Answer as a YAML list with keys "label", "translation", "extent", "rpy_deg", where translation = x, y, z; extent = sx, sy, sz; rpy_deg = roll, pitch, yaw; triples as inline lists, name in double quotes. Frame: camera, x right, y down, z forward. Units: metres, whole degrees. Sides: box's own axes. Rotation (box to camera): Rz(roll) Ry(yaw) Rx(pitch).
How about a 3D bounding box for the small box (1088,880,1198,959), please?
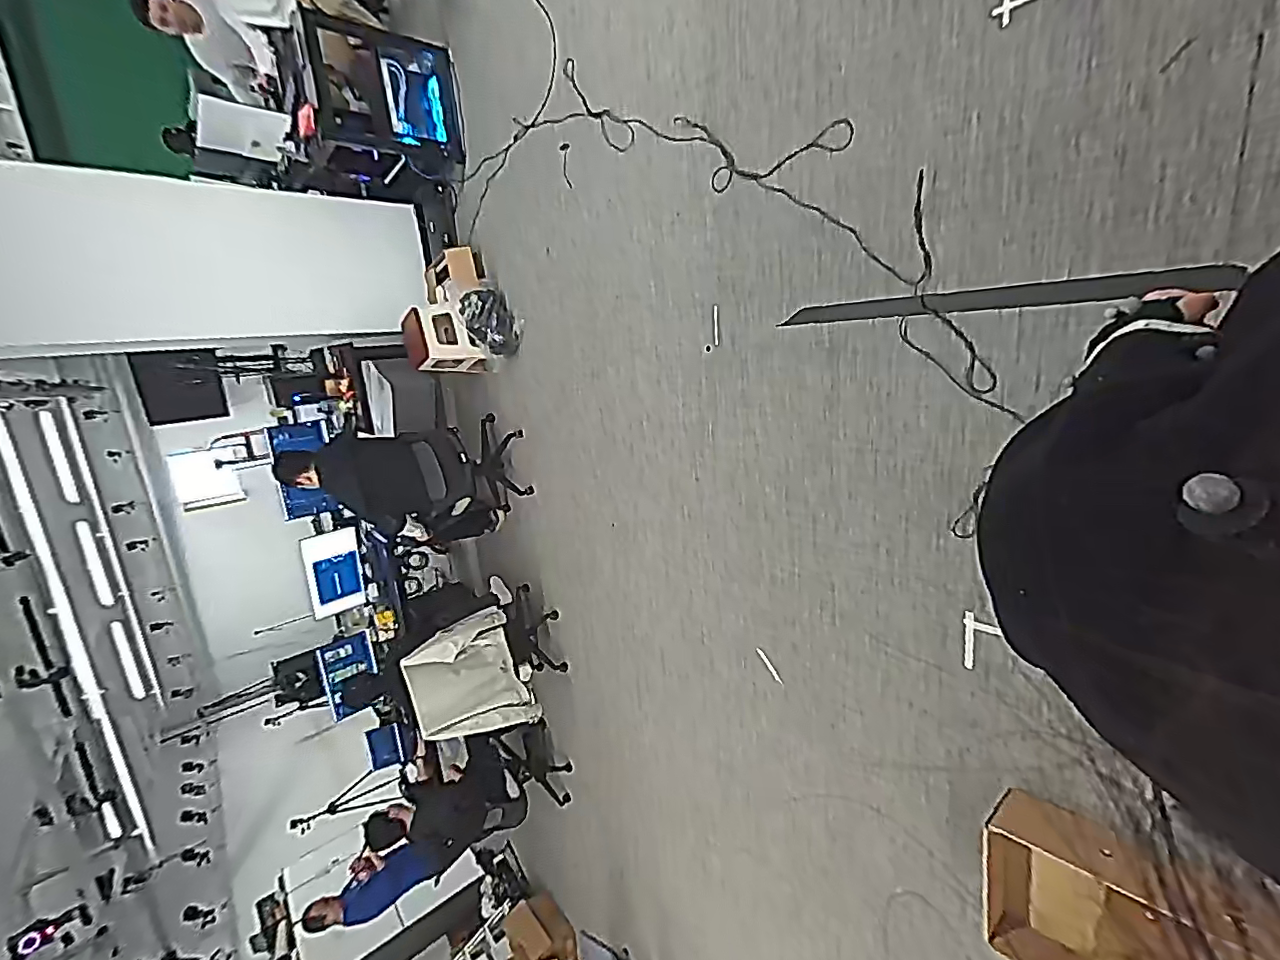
- label: "small box"
  translation: [1.149, 1.082, 1.235]
  extent: [0.168, 0.176, 0.179]
  rpy_deg: [3, 105, 50]
